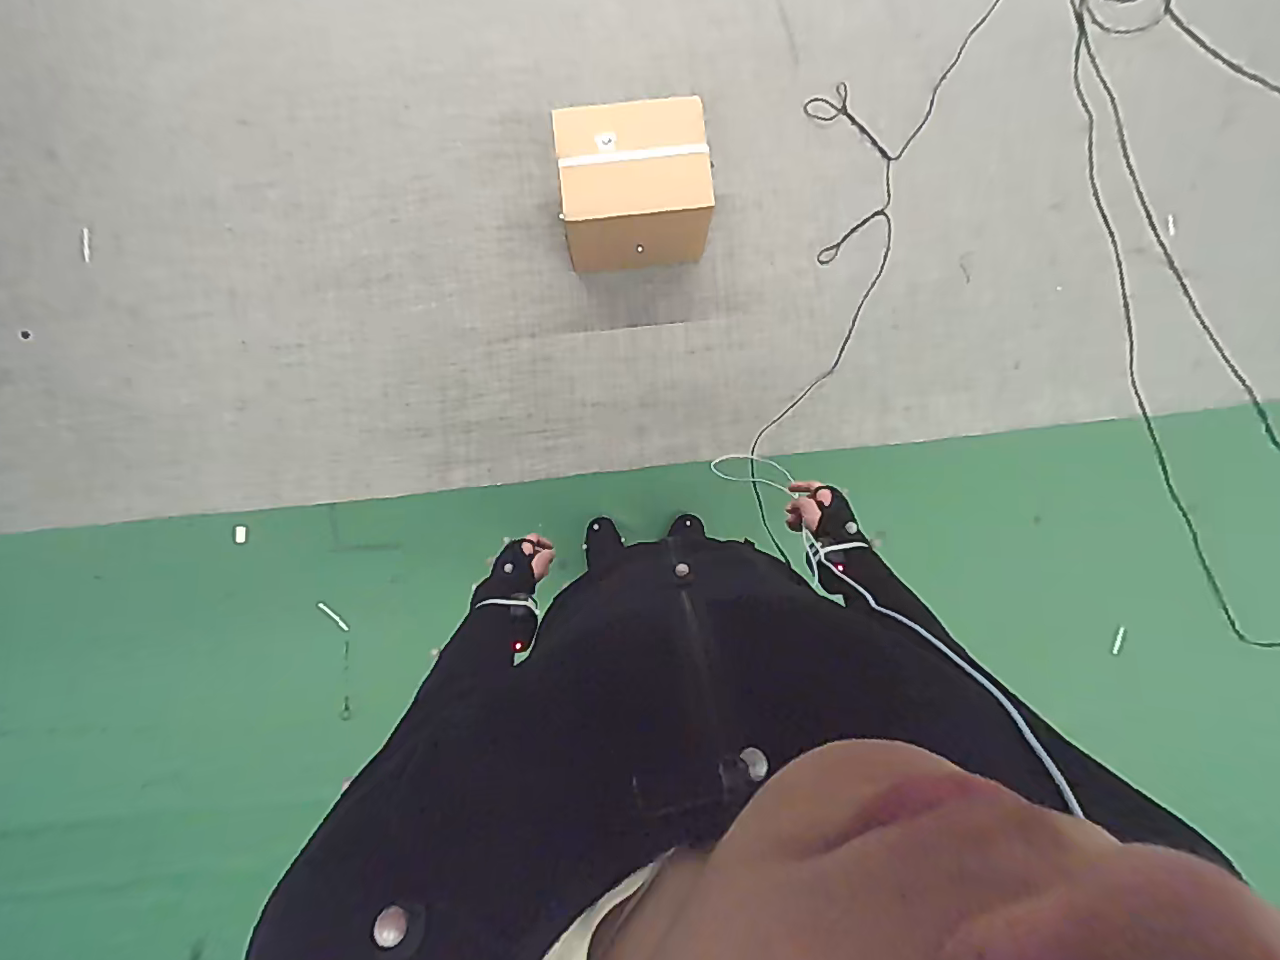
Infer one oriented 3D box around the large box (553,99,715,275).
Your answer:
[{"bbox_3d":[-0.017,-0.837,1.590,0.408,0.320,0.320,-8,85,0],"label":"large box"}]
